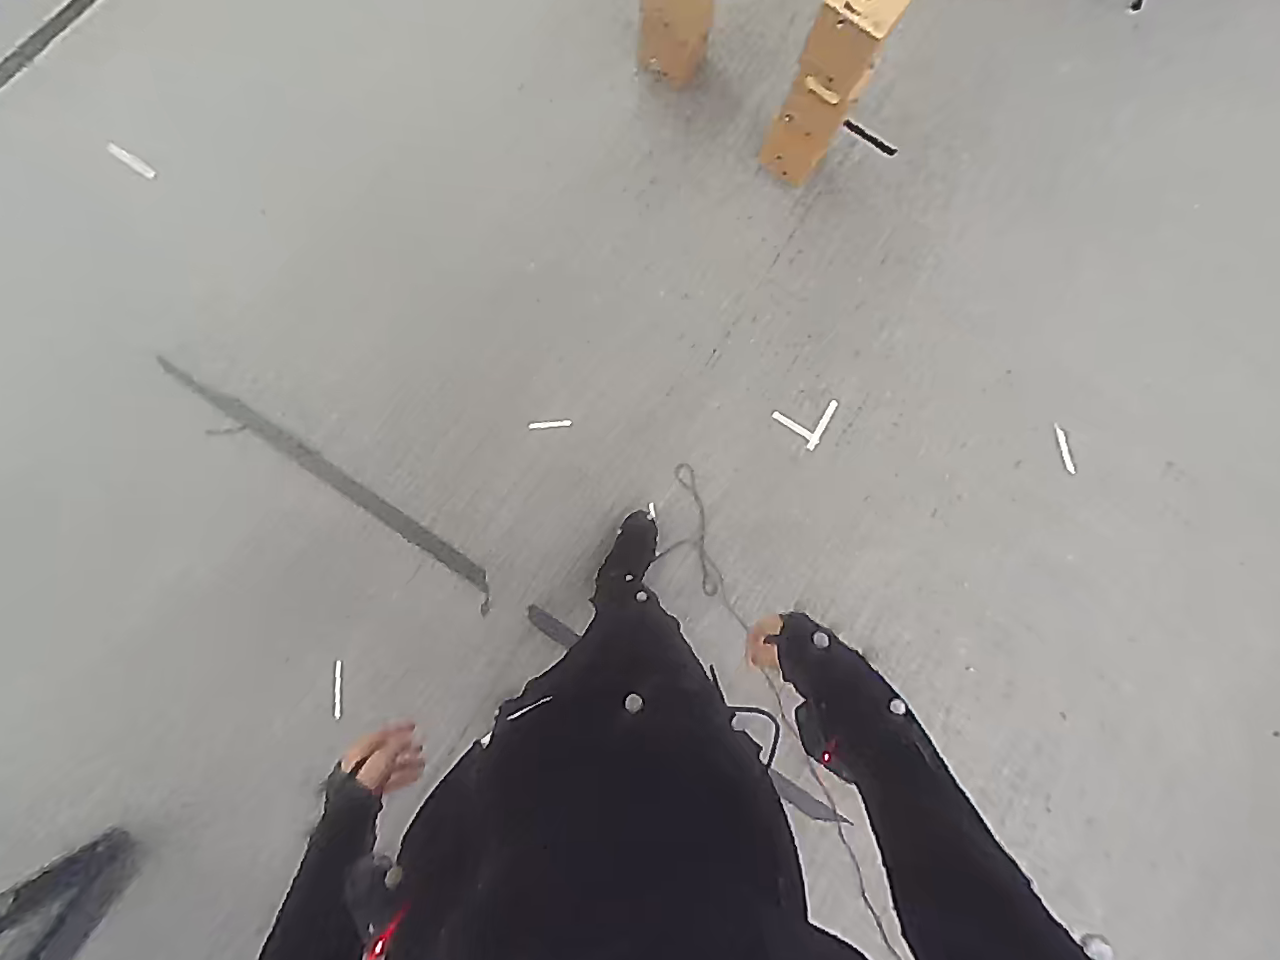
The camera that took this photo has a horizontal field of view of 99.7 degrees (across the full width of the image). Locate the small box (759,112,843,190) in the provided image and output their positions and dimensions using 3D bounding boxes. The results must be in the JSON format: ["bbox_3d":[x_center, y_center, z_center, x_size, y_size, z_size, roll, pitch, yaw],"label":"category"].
[{"bbox_3d":[0.492,-1.046,1.661,0.168,0.176,0.179,36,80,0],"label":"small box"}]

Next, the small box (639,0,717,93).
[{"bbox_3d":[0.109,-1.359,1.669,0.168,0.176,0.179,31,79,0],"label":"small box"}]

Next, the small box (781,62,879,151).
[{"bbox_3d":[0.516,-1.069,1.500,0.168,0.176,0.179,35,79,0],"label":"small box"}]

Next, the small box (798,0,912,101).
[{"bbox_3d":[0.523,-1.104,1.339,0.168,0.176,0.179,35,78,0],"label":"small box"}]
